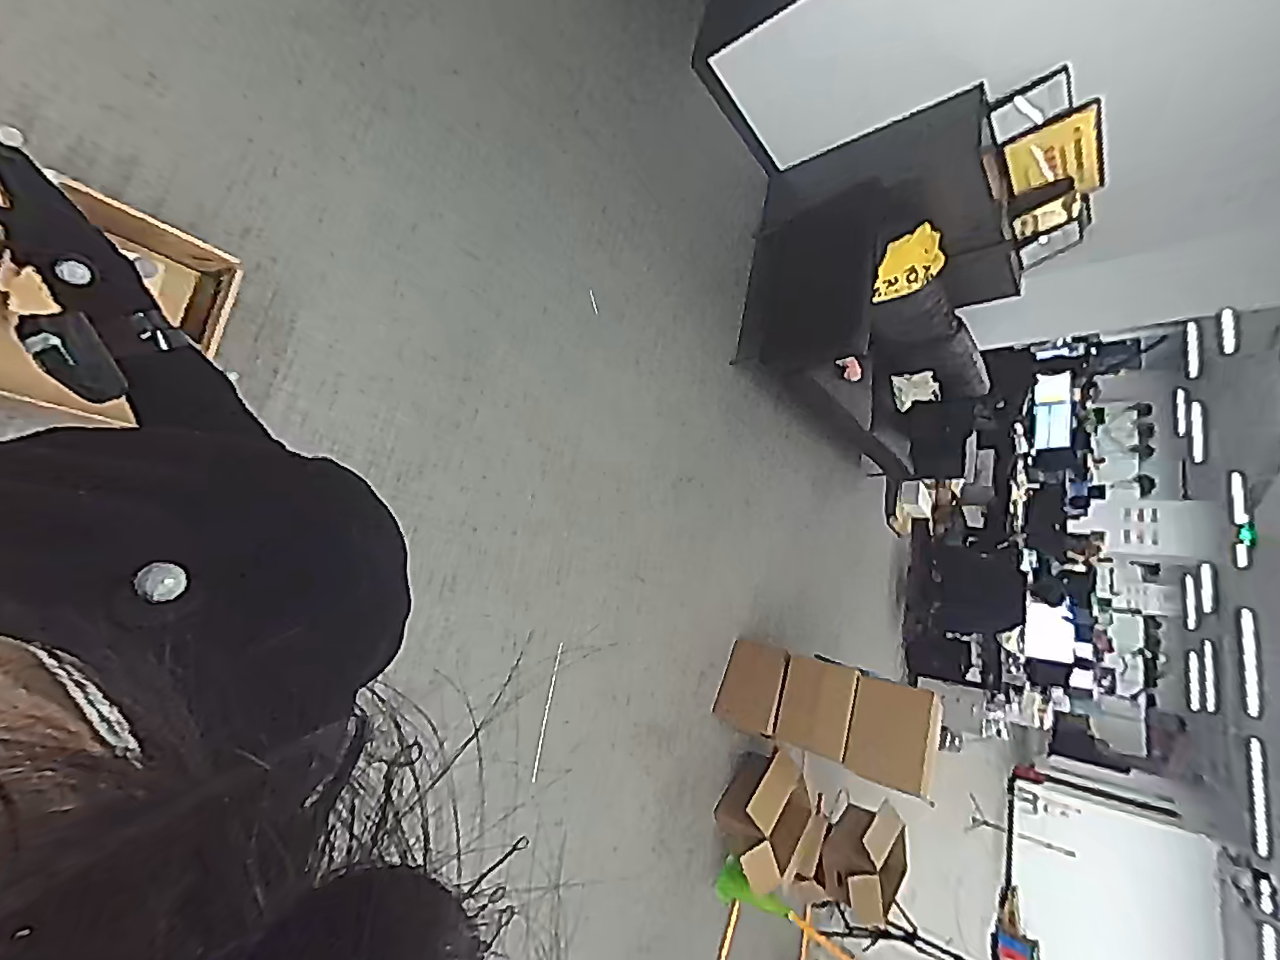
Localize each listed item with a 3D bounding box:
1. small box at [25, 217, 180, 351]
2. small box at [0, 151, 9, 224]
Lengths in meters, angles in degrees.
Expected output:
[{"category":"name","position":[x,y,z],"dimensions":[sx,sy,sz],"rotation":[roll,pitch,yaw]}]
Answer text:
[{"category":"small box","position":[-1.011,-0.355,1.023],"dimensions":[0.179,0.176,0.168],"rotation":[14,81,-46]},{"category":"small box","position":[-1.033,-0.404,0.761],"dimensions":[0.168,0.176,0.179],"rotation":[17,79,-49]}]
